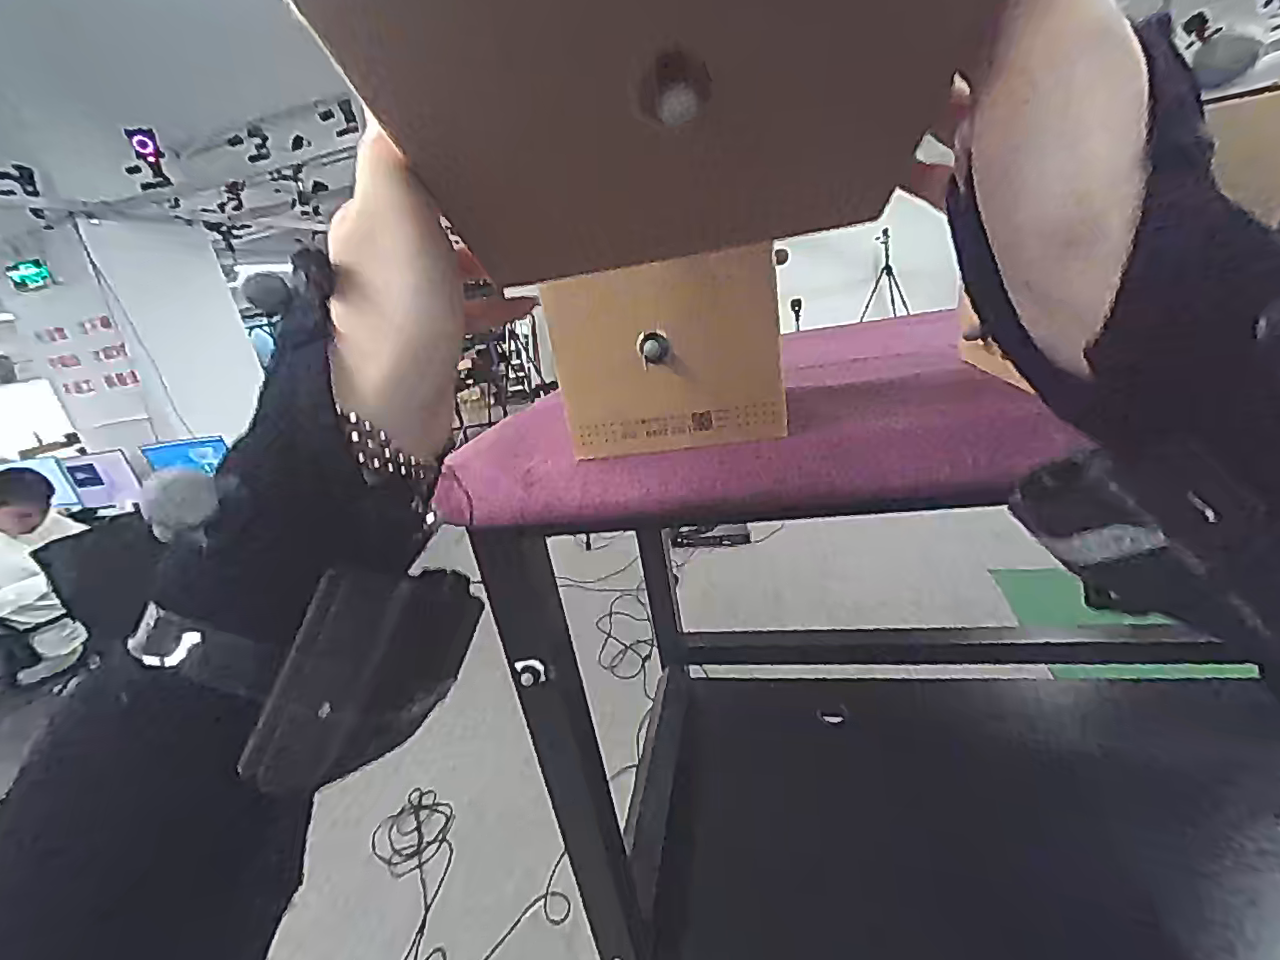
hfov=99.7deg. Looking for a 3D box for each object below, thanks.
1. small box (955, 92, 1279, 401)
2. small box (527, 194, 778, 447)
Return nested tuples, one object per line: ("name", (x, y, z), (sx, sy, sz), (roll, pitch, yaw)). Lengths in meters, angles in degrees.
("small box", (0.362, -0.168, 0.414), (0.179, 0.176, 0.168), (-7, 19, 13))
("small box", (0.025, -0.129, 0.466), (0.168, 0.176, 0.179), (-5, 21, 12))
